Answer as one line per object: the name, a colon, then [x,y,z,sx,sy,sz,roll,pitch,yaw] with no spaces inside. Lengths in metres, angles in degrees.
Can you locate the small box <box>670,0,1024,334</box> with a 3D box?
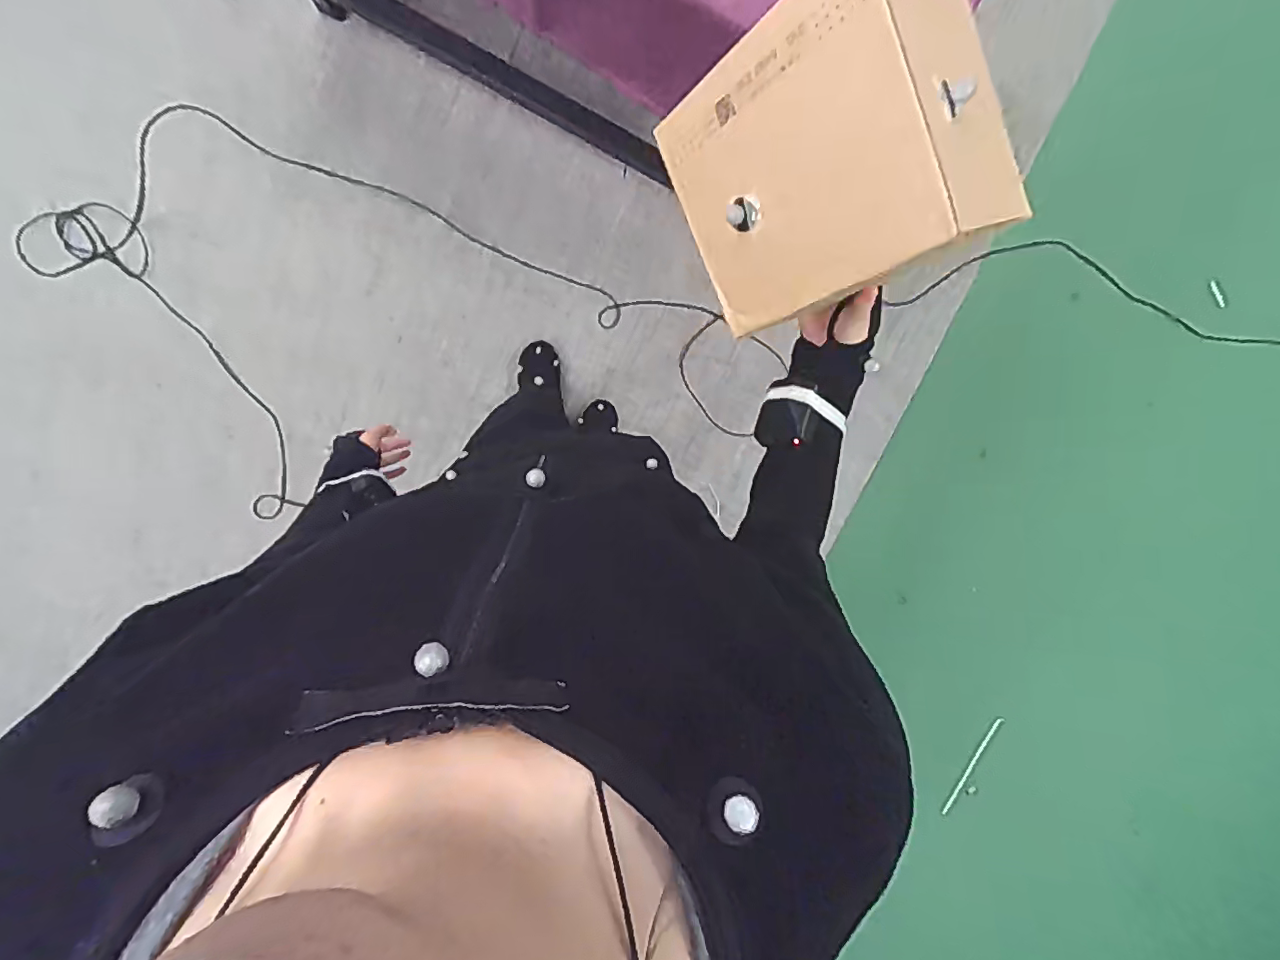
small box: [0.151,-0.233,0.404,0.179,0.168,0.176,-28,98,-40]
